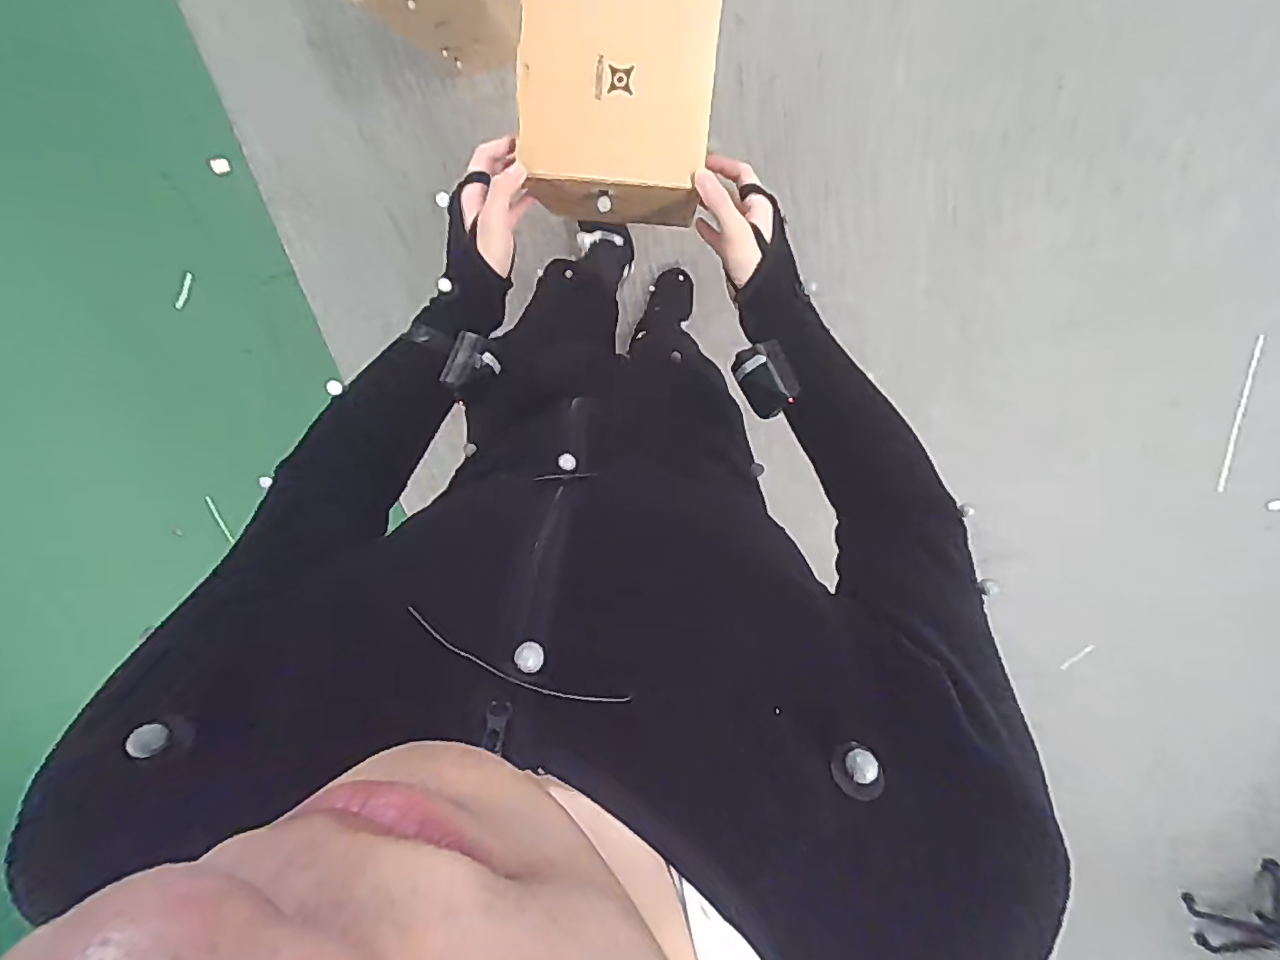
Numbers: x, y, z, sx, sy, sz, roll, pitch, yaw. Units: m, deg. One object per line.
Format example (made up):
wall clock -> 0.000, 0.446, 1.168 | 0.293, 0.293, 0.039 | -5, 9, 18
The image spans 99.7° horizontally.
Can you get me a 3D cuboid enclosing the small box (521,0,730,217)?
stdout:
small box -> -0.013, -0.379, 0.553 | 0.179, 0.176, 0.168 | 6, 103, 2
